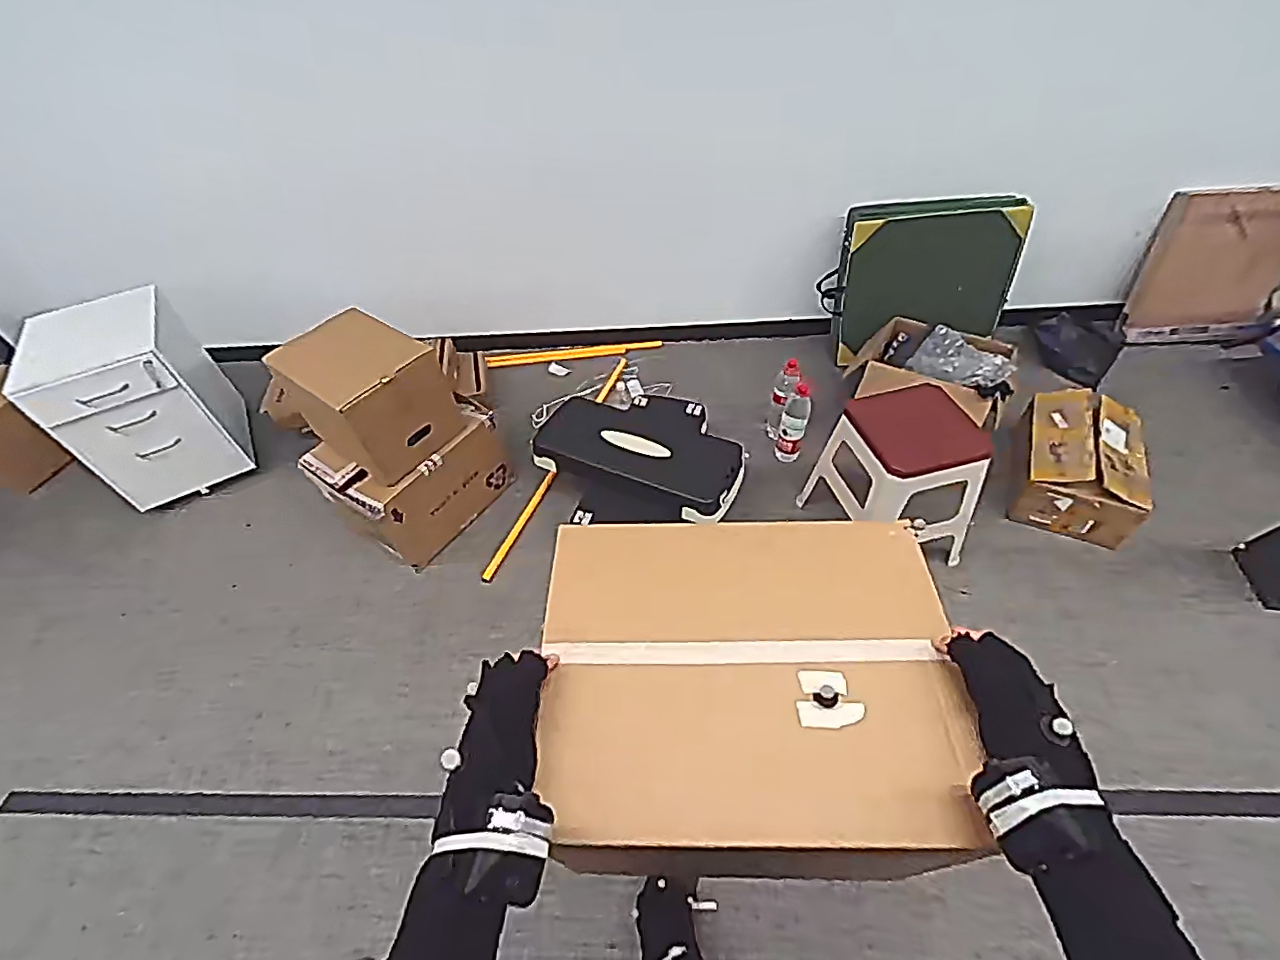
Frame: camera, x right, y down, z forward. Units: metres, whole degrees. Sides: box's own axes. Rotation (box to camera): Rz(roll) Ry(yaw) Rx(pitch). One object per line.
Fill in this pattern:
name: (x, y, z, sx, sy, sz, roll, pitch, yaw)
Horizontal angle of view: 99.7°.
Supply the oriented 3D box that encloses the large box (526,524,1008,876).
large box: (0.106, 0.269, 0.649, 0.408, 0.320, 0.320, -1, 50, 2)
